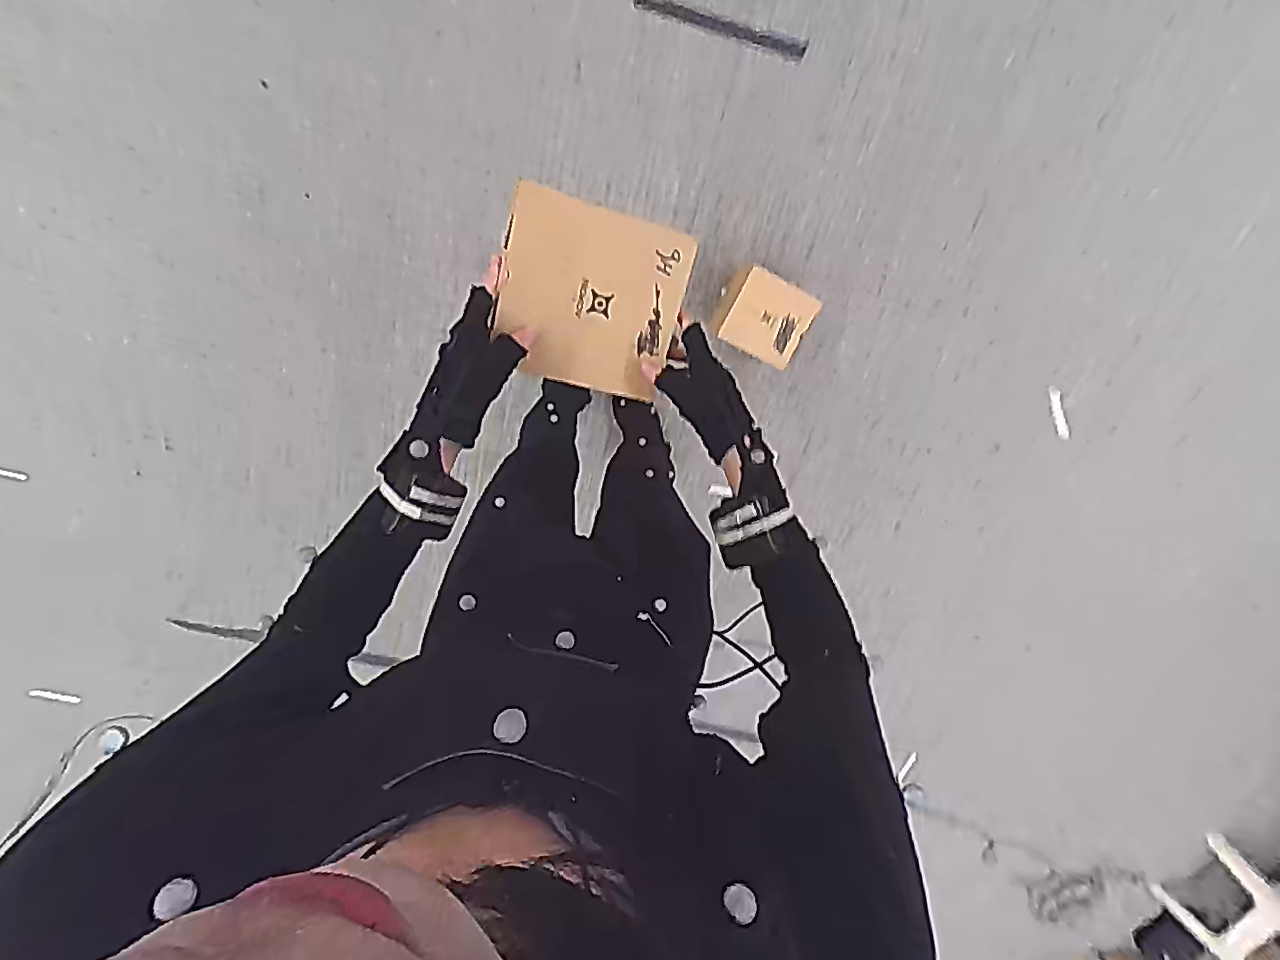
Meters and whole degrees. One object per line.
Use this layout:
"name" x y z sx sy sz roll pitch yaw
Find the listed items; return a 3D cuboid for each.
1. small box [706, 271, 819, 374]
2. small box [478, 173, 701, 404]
"small box" 0.273 -0.370 1.248 0.179 0.176 0.168 25 110 -11
"small box" -0.063 -0.195 0.573 0.179 0.176 0.168 12 108 -17
